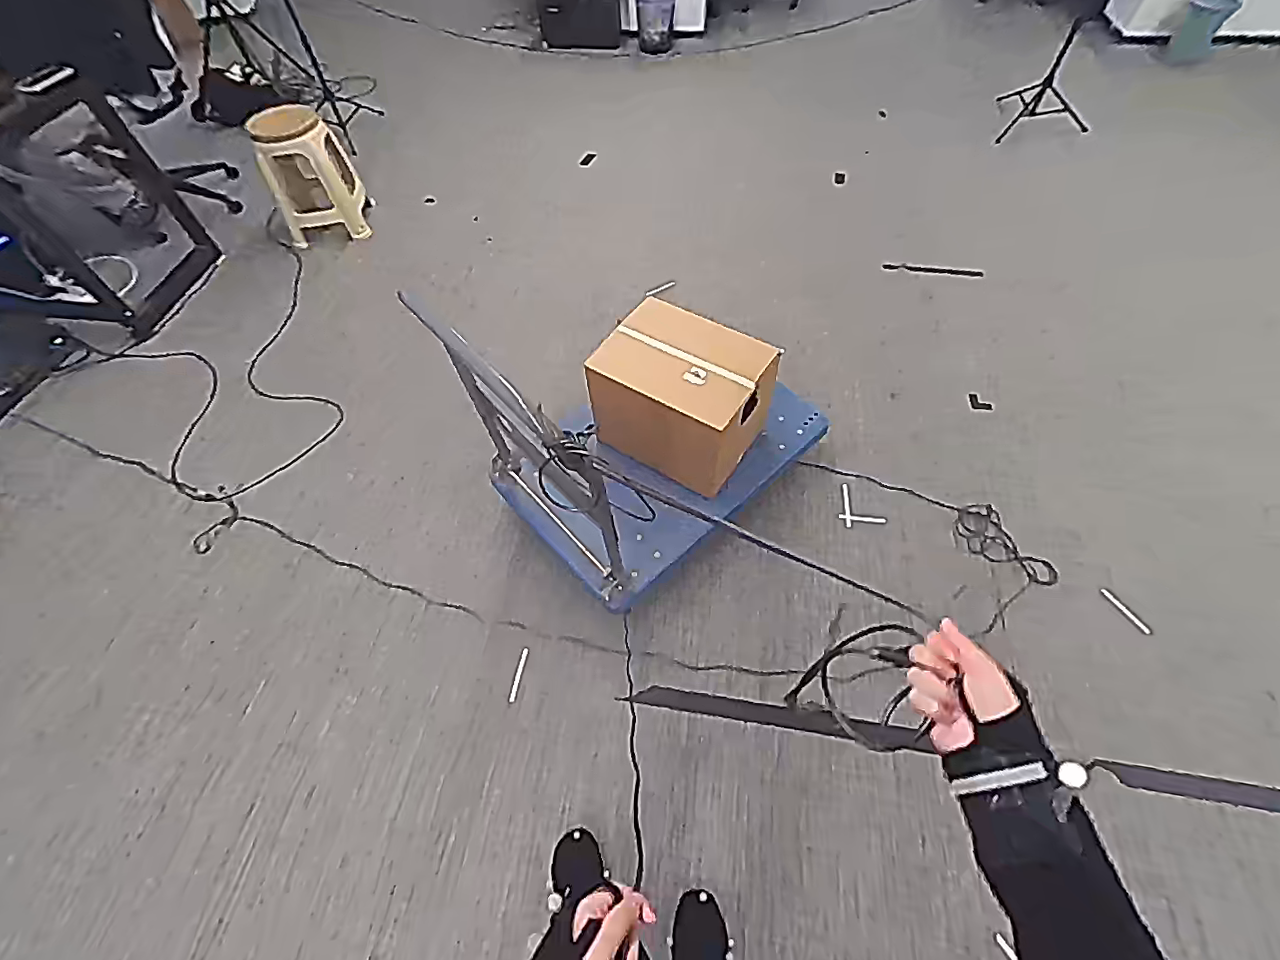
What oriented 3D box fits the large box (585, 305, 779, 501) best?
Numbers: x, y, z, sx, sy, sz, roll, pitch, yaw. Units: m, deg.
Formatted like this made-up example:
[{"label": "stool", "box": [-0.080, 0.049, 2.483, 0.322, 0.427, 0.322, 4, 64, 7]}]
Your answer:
[{"label": "large box", "box": [0.107, -0.211, 1.487, 0.408, 0.320, 0.320, 28, 63, 18]}]
